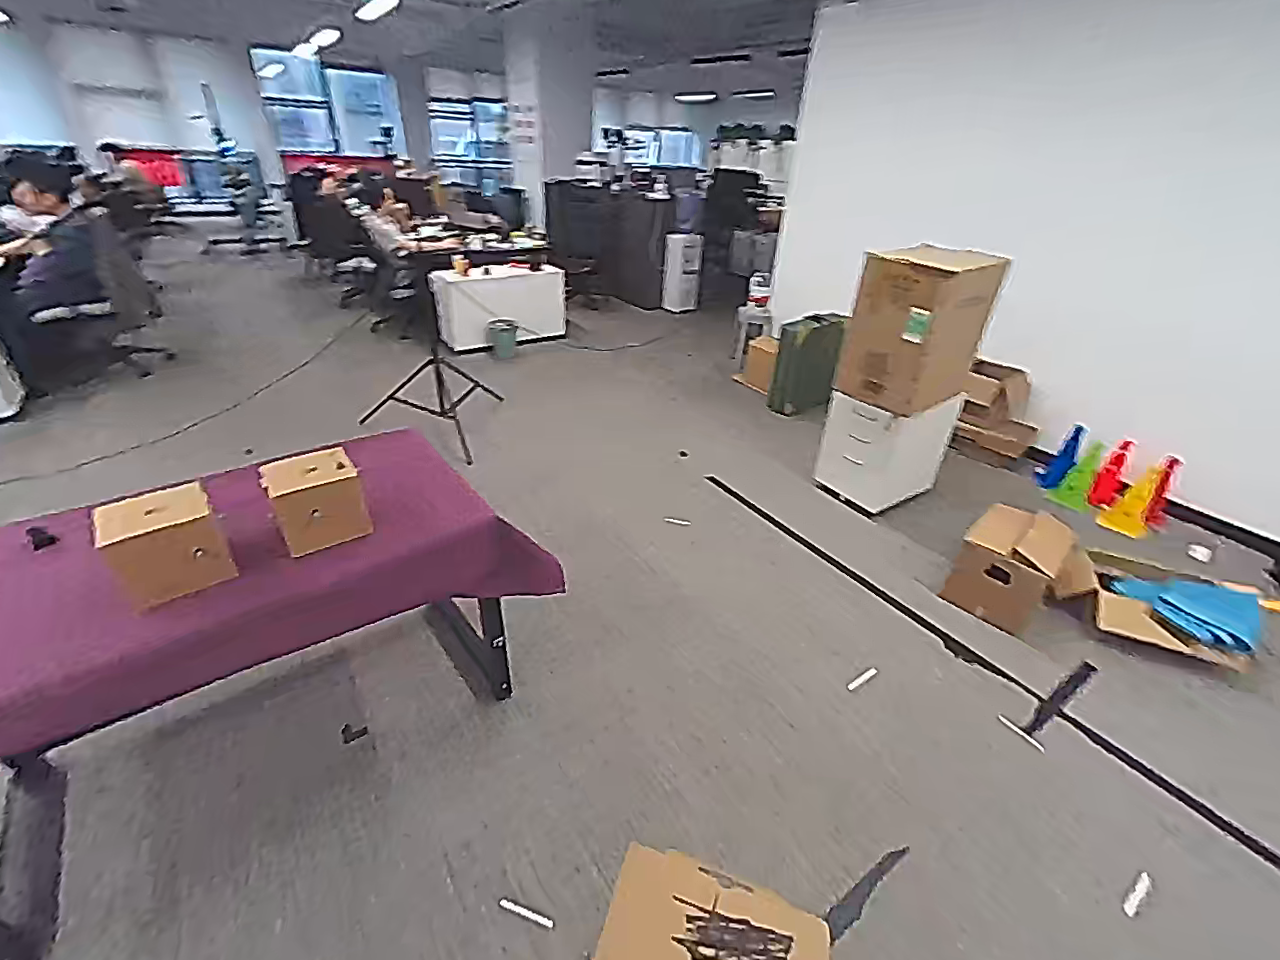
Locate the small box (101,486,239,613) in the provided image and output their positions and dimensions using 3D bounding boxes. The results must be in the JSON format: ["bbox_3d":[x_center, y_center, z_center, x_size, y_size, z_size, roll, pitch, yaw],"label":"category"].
[{"bbox_3d":[-0.974,0.142,1.132,0.179,0.176,0.168,-25,39,-36],"label":"small box"}]

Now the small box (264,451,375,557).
[{"bbox_3d":[-0.758,0.057,1.287,0.179,0.176,0.168,-21,38,-32],"label":"small box"}]

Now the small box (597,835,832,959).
[{"bbox_3d":[0.036,0.420,0.395,0.168,0.176,0.179,14,26,10],"label":"small box"}]
